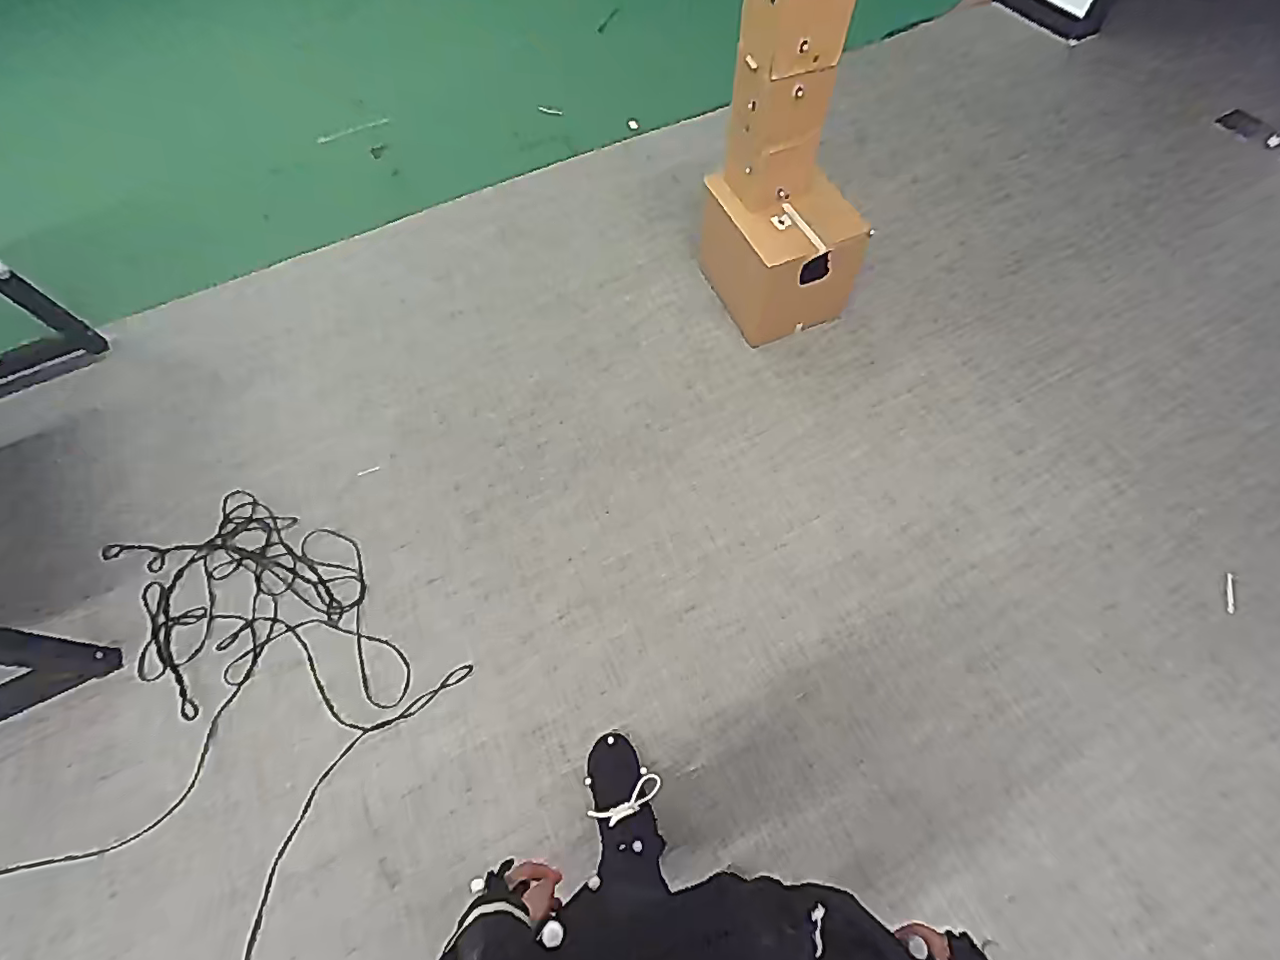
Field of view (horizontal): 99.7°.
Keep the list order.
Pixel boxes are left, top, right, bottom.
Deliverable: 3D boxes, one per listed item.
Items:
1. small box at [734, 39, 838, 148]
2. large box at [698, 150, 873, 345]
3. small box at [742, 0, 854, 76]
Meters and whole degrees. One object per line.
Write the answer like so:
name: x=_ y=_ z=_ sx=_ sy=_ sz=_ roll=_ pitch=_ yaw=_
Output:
small box: x=0.333 y=-0.927 z=1.284 sx=0.179 sy=0.176 sz=0.168 roll=-18 pitch=67 yaw=-7
large box: x=0.402 y=-0.687 z=1.616 sx=0.320 sy=0.320 sz=0.408 roll=-22 pitch=66 yaw=-7
small box: x=0.327 y=-0.998 z=1.137 sx=0.168 sy=0.176 sz=0.179 roll=-17 pitch=67 yaw=-6
